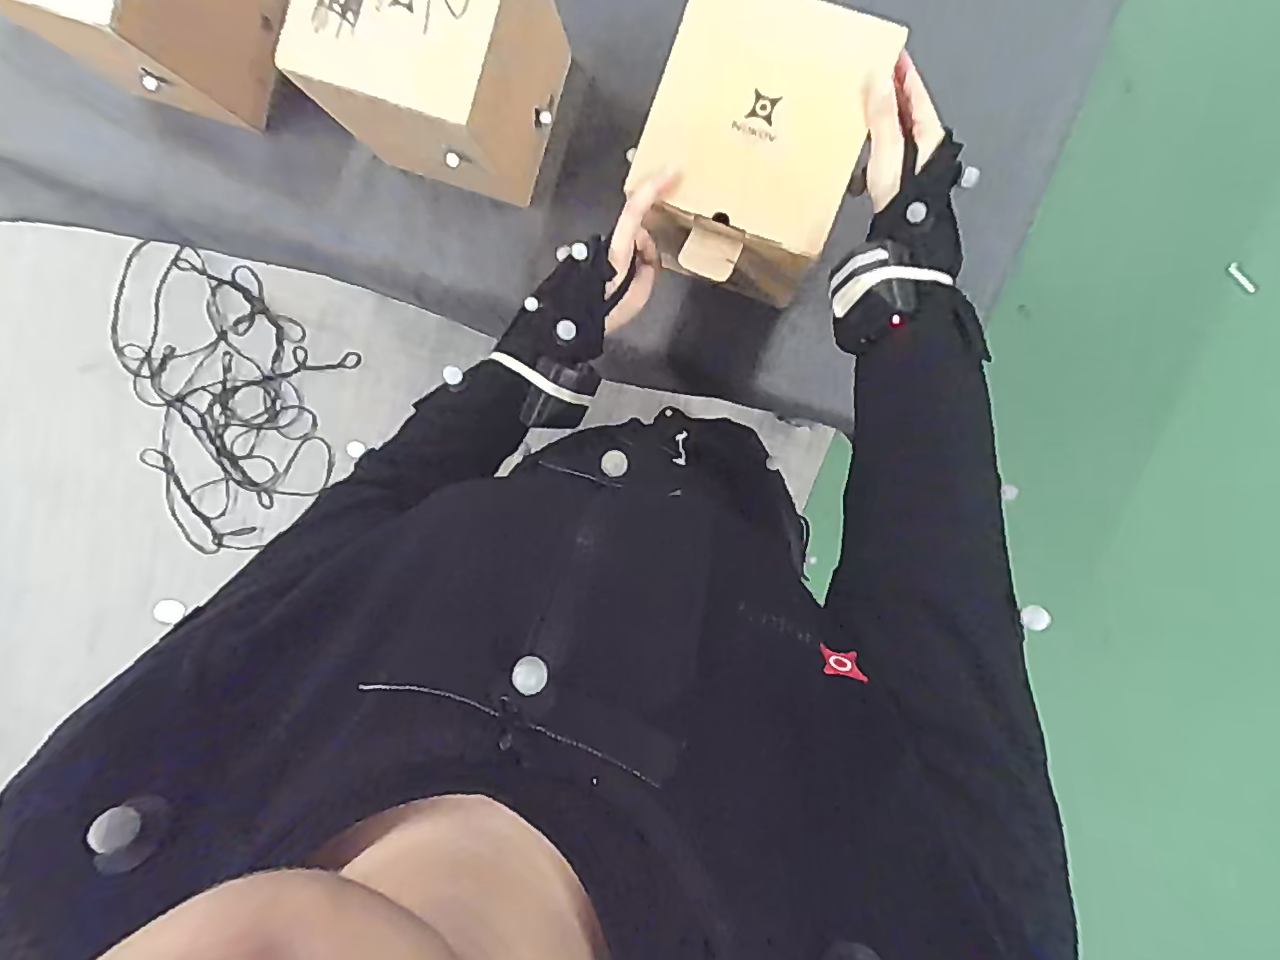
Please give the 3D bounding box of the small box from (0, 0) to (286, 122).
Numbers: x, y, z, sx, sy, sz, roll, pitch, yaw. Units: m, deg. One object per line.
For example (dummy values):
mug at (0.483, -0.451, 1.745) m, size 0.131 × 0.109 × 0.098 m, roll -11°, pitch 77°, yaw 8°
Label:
small box at (-0.495, -0.494, 0.532) m, size 0.179 × 0.176 × 0.168 m, roll 18°, pitch 96°, yaw 5°
